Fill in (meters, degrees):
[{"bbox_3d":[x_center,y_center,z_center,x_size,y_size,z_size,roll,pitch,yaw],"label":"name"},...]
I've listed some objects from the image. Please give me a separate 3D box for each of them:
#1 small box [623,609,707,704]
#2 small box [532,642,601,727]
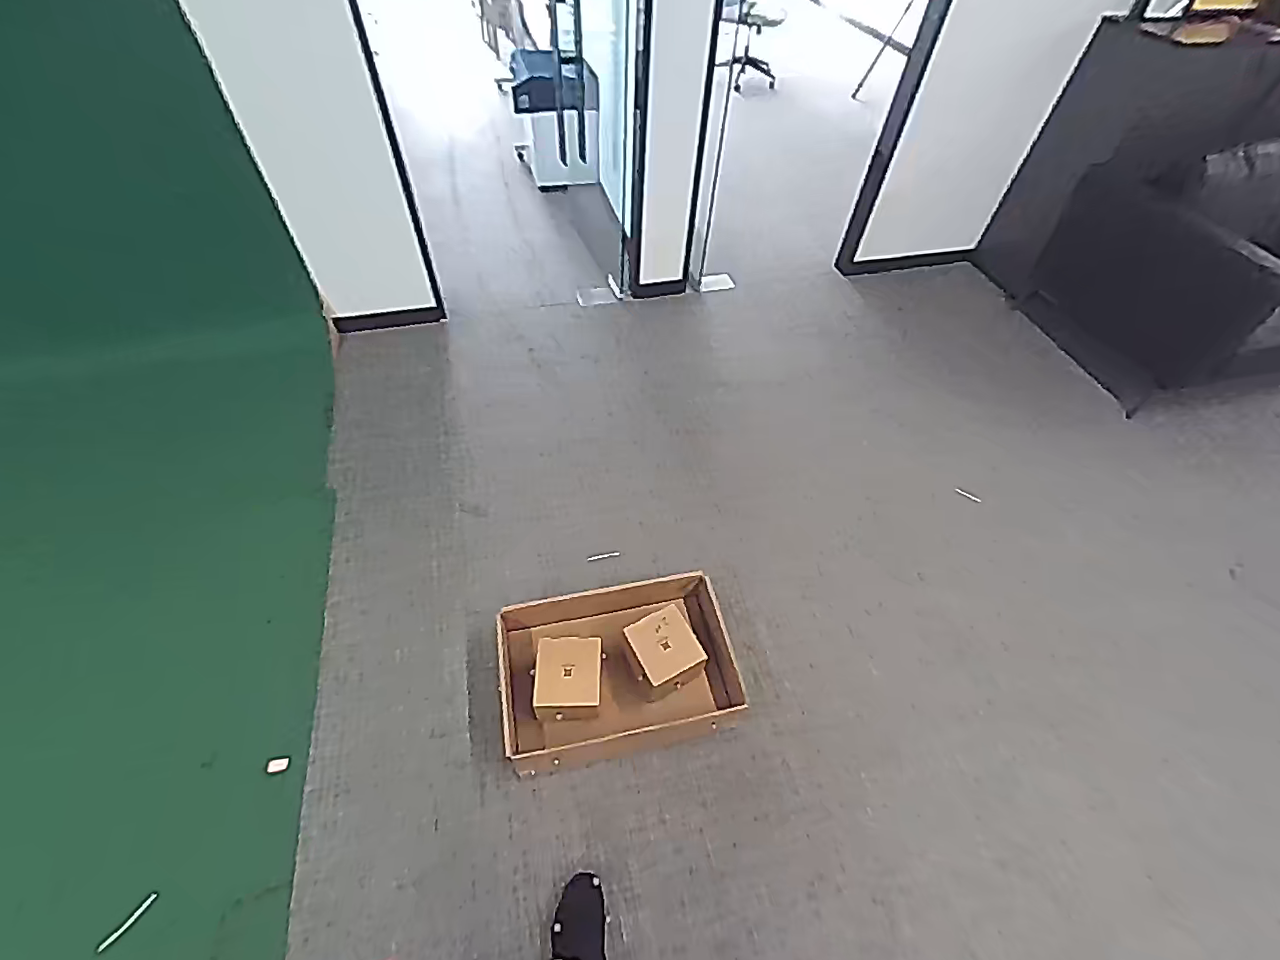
[{"bbox_3d":[0.063,0.493,1.488,0.168,0.176,0.179,-22,56,-19],"label":"small box"},{"bbox_3d":[-0.188,0.546,1.433,0.168,0.176,0.179,1,50,-4],"label":"small box"}]
